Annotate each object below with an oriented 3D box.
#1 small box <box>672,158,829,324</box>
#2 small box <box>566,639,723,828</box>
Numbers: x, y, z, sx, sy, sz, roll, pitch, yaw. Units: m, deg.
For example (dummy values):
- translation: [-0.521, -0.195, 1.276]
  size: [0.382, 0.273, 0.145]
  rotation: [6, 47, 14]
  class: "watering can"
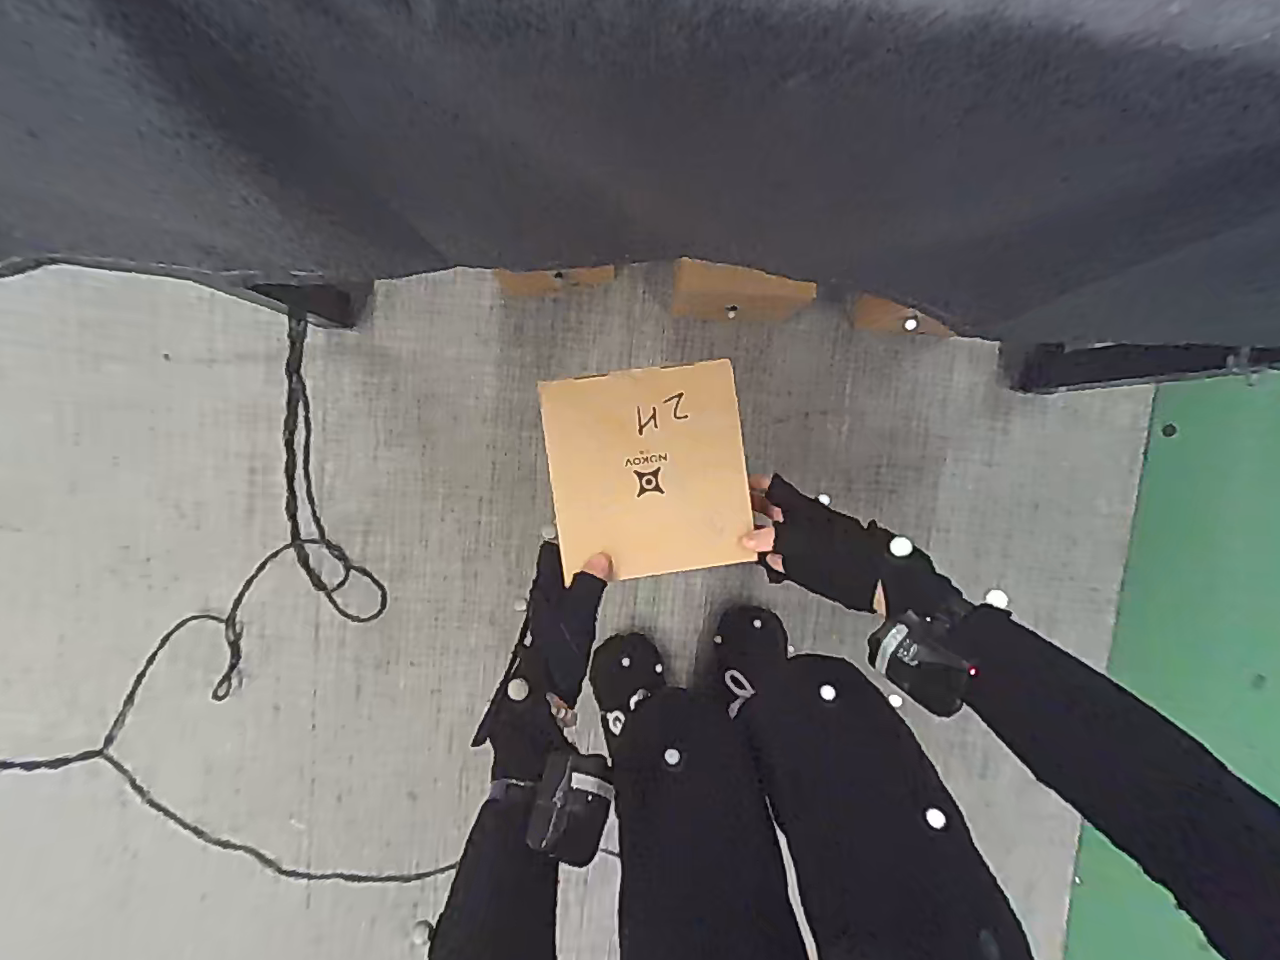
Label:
- translation: [0.143, -0.319, 0.757]
  size: [0.179, 0.176, 0.168]
  rotation: [3, 95, -1]
  class: "small box"
- translation: [0.007, 0.376, 0.830]
  size: [0.179, 0.176, 0.168]
  rotation: [26, 99, 17]
  class: "small box"
